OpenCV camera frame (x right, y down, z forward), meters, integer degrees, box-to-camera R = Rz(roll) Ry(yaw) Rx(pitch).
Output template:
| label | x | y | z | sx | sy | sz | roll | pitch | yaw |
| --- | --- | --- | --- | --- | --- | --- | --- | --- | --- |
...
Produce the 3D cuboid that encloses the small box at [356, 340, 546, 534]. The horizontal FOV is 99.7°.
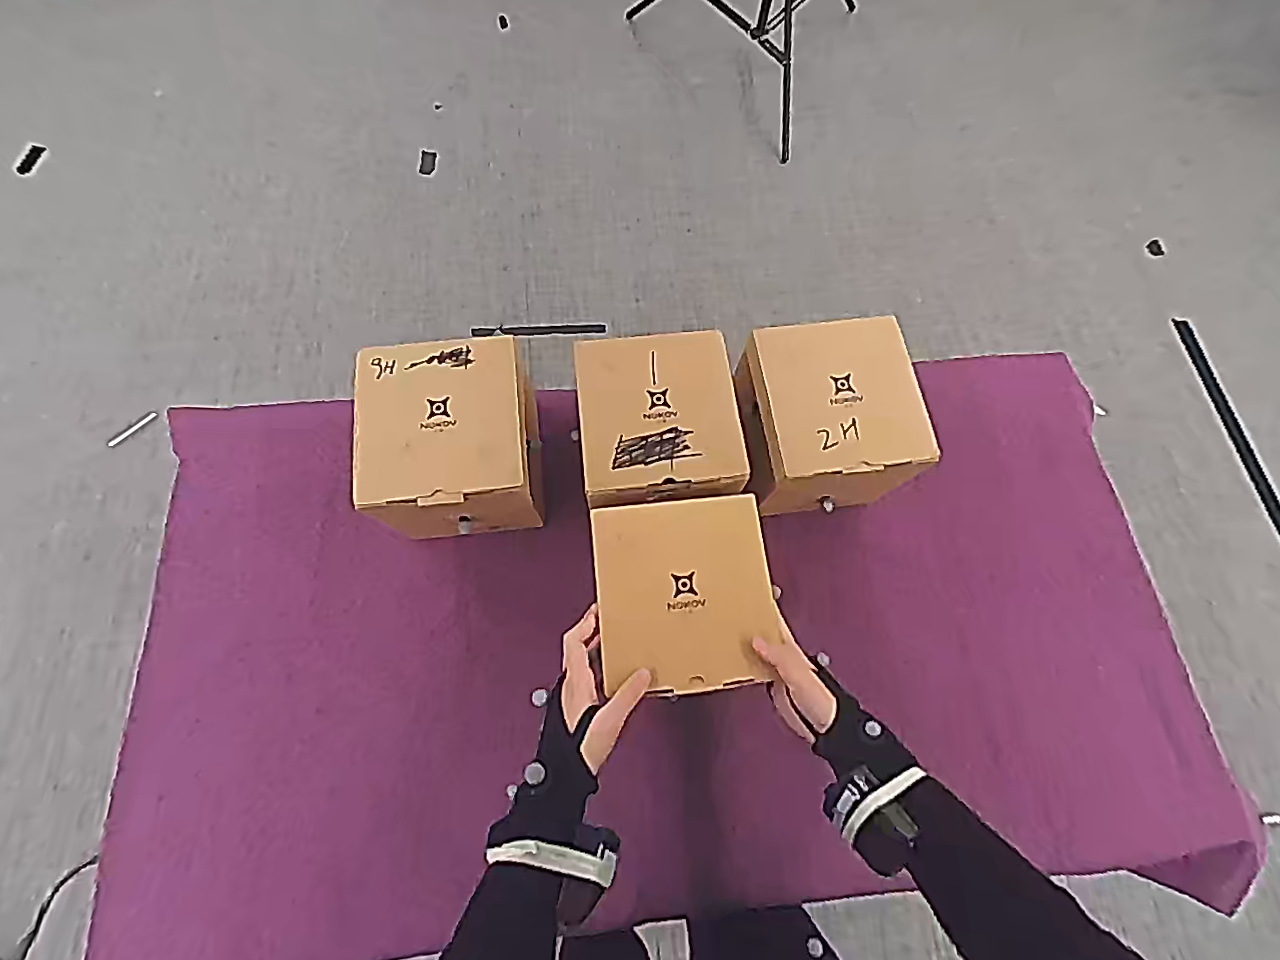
| label | x | y | z | sx | sy | sz | roll | pitch | yaw |
| --- | --- | --- | --- | --- | --- | --- | --- | --- | --- |
| small box | -0.206 | -0.037 | 0.627 | 0.168 | 0.176 | 0.179 | -6 | 74 | -4 |
